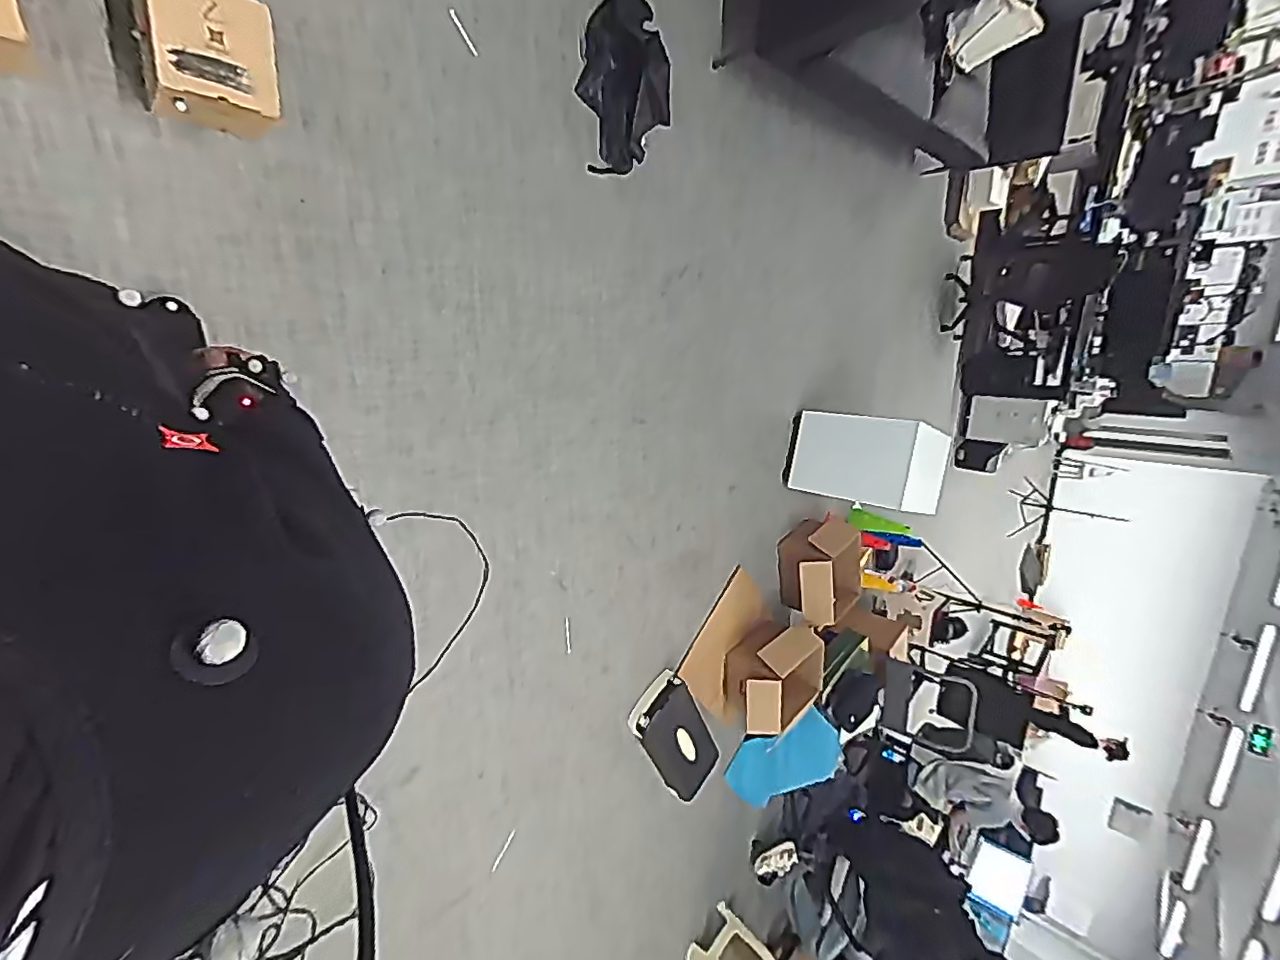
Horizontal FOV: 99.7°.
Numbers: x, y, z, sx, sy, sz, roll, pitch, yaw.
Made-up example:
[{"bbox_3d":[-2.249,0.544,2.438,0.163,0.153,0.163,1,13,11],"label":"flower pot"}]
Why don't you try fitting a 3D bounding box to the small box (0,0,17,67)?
[{"bbox_3d":[-0.955,-0.684,0.700,0.168,0.176,0.179,-17,113,-44],"label":"small box"}]
